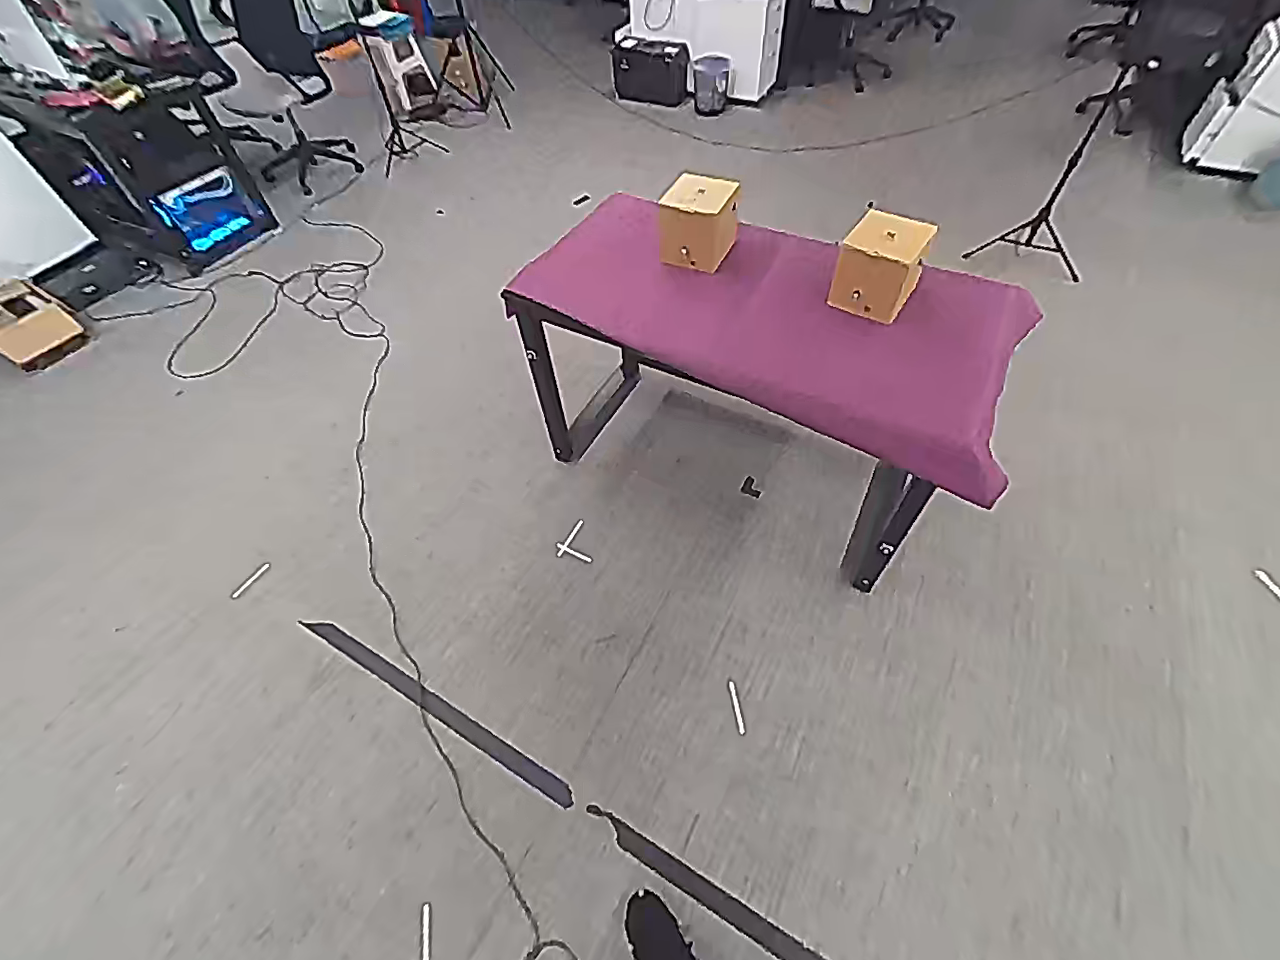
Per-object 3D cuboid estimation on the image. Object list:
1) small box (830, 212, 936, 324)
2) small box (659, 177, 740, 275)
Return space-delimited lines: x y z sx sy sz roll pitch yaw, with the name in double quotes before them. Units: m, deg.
"small box" 0.585 -0.518 1.324 0.168 0.176 0.179 28 62 23
"small box" 0.161 -0.698 1.485 0.168 0.176 0.179 20 58 18
